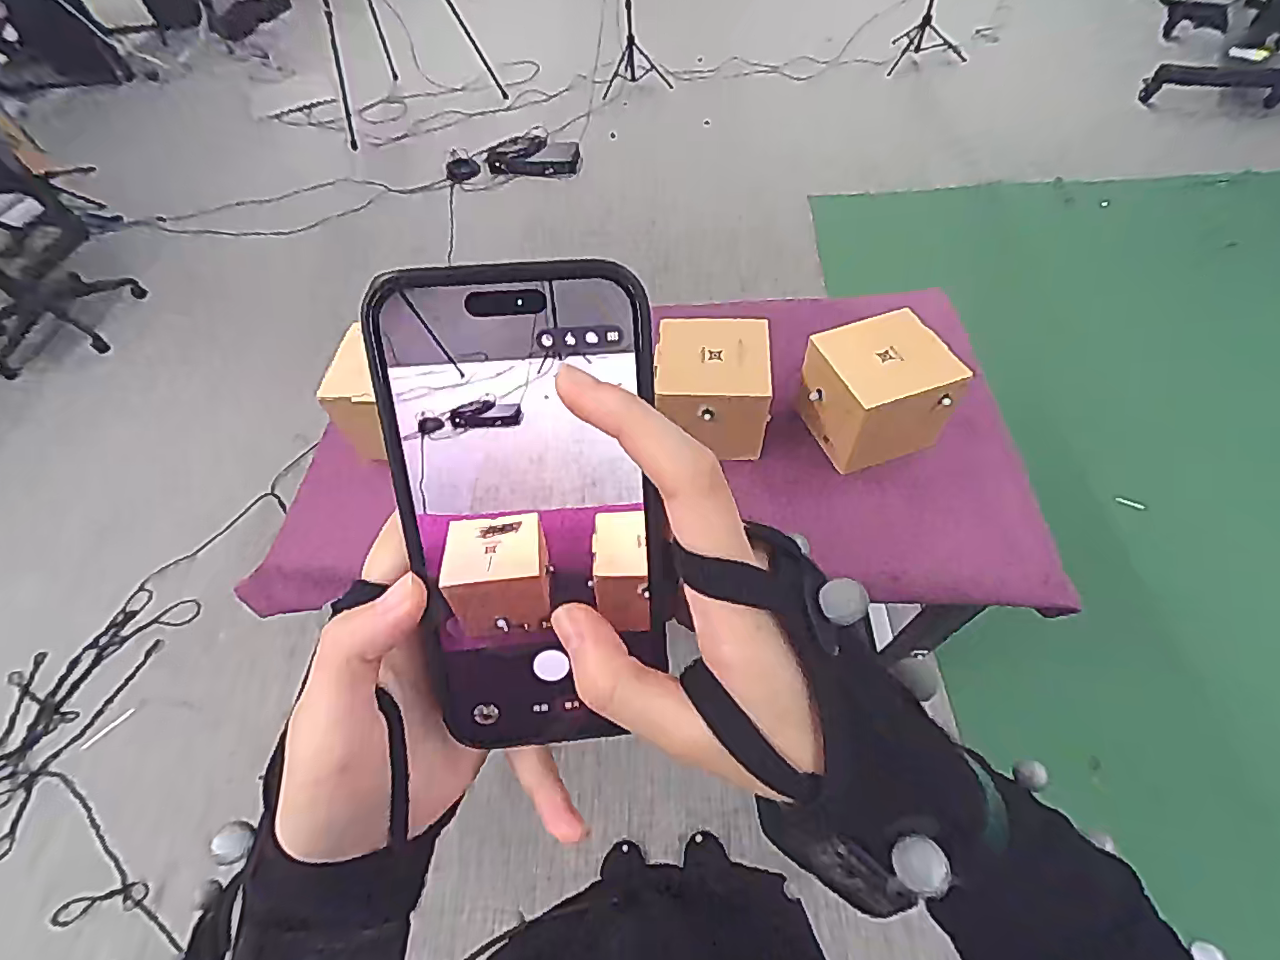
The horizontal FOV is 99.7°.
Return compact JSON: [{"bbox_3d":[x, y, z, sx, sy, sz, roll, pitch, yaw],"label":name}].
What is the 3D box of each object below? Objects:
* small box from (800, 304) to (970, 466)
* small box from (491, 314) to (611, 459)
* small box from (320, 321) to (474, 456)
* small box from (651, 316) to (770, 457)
[{"bbox_3d":[0.374,-0.146,0.870,0.179,0.176,0.168,-18,56,-7],"label":"small box"},{"bbox_3d":[-0.141,-0.157,0.924,0.168,0.176,0.179,-4,57,3],"label":"small box"},{"bbox_3d":[-0.409,-0.154,0.947,0.168,0.176,0.179,0,57,5],"label":"small box"},{"bbox_3d":[0.117,-0.151,0.897,0.179,0.176,0.168,2,57,7],"label":"small box"}]
